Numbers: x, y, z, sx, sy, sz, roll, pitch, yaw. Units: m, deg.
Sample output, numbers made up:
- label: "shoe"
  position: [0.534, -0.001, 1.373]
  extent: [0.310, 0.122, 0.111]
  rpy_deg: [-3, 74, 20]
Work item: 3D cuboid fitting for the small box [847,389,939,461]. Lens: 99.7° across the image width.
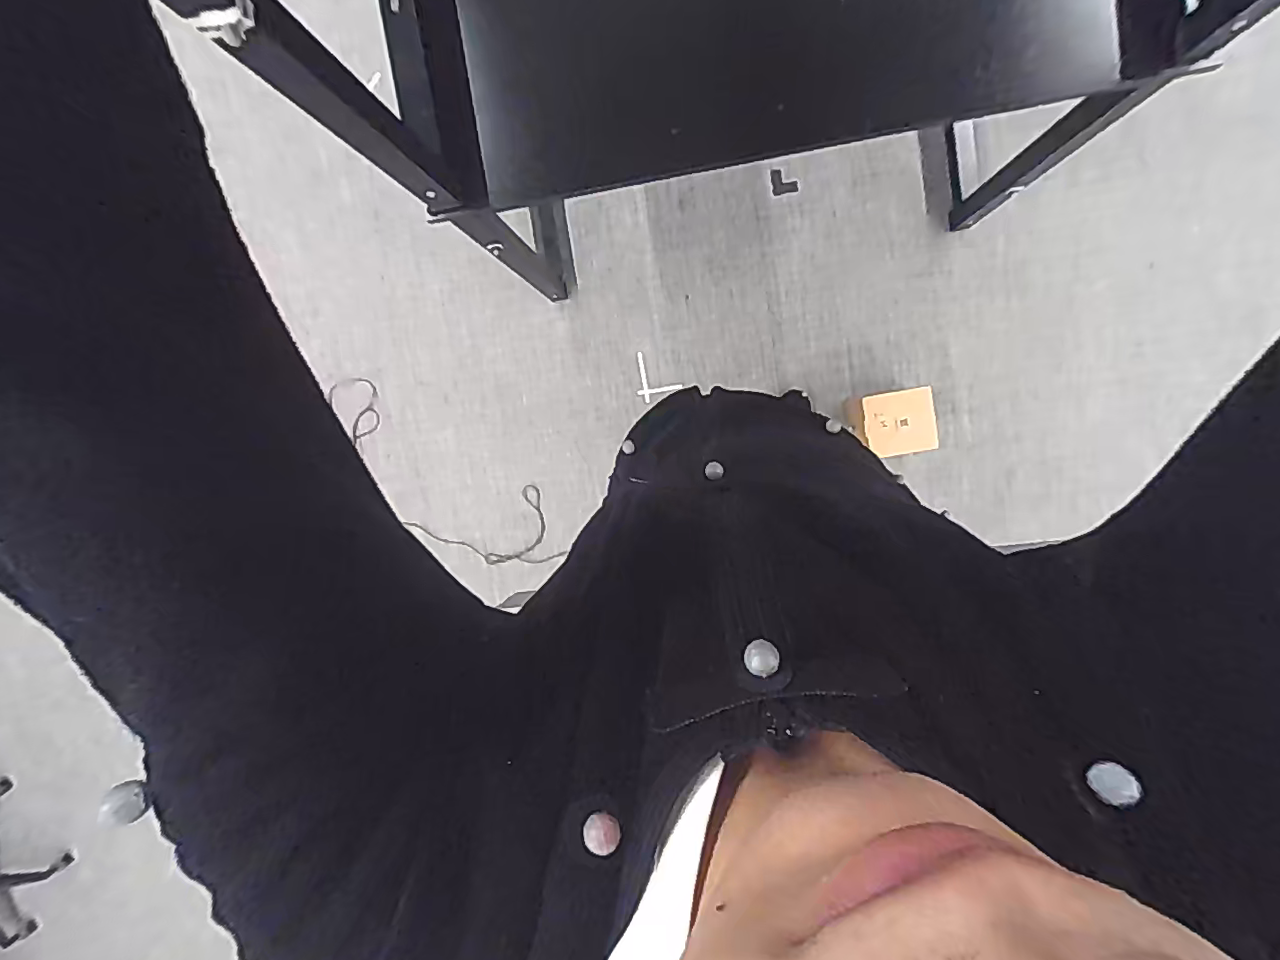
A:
- label: "small box"
  position: [0.685, -0.152, 1.477]
  extent: [0.179, 0.176, 0.168]
  rpy_deg: [-9, 95, 8]
